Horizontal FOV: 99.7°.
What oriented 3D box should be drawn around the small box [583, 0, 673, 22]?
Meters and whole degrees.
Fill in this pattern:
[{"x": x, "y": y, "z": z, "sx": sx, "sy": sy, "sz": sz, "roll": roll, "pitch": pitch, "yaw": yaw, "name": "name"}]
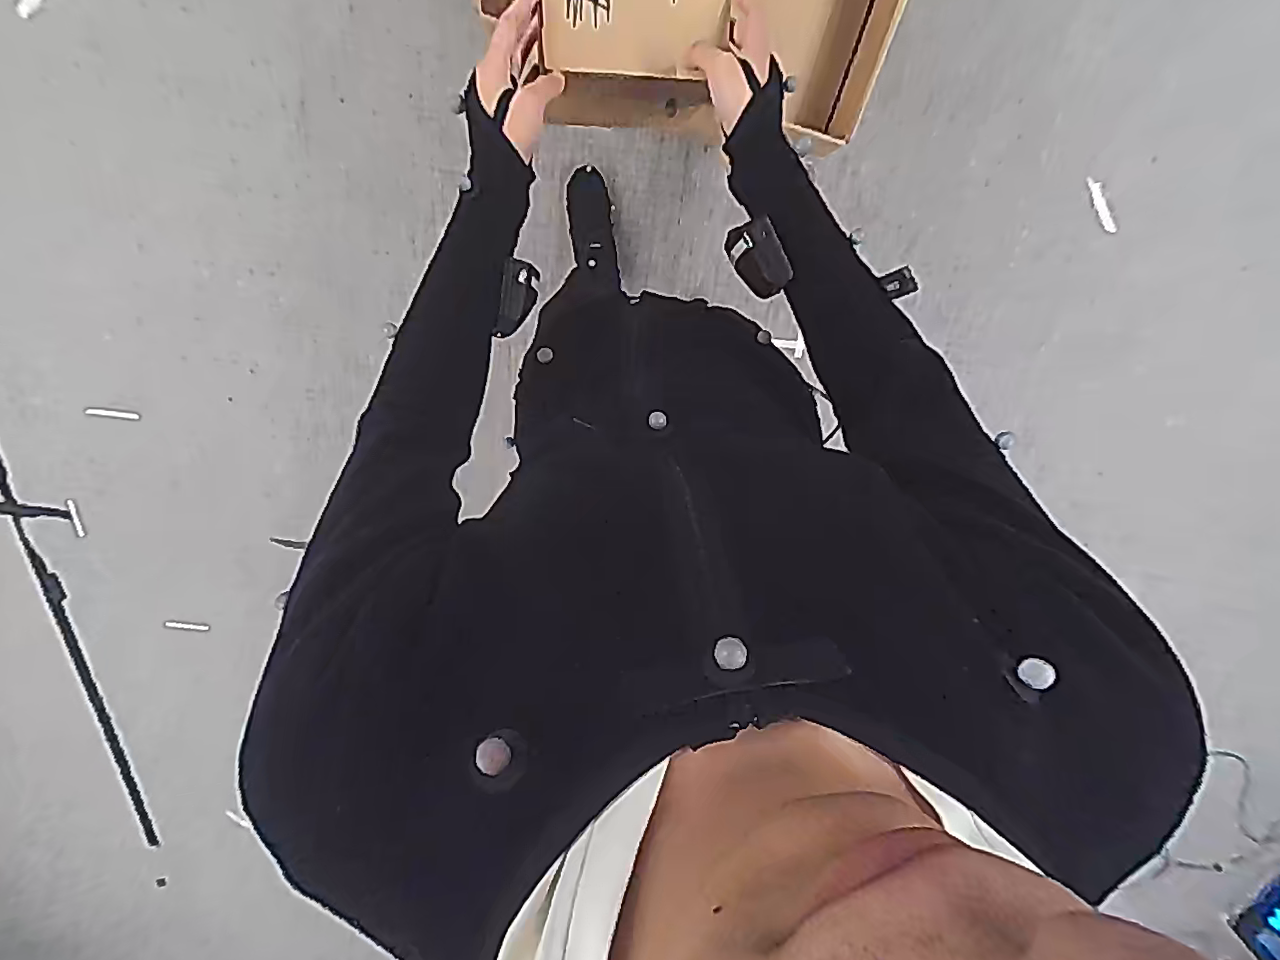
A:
[{"x": -0.019, "y": -0.826, "z": 0.802, "sx": 0.179, "sy": 0.176, "sz": 0.168, "roll": 11, "pitch": 113, "yaw": -6, "name": "small box"}]
